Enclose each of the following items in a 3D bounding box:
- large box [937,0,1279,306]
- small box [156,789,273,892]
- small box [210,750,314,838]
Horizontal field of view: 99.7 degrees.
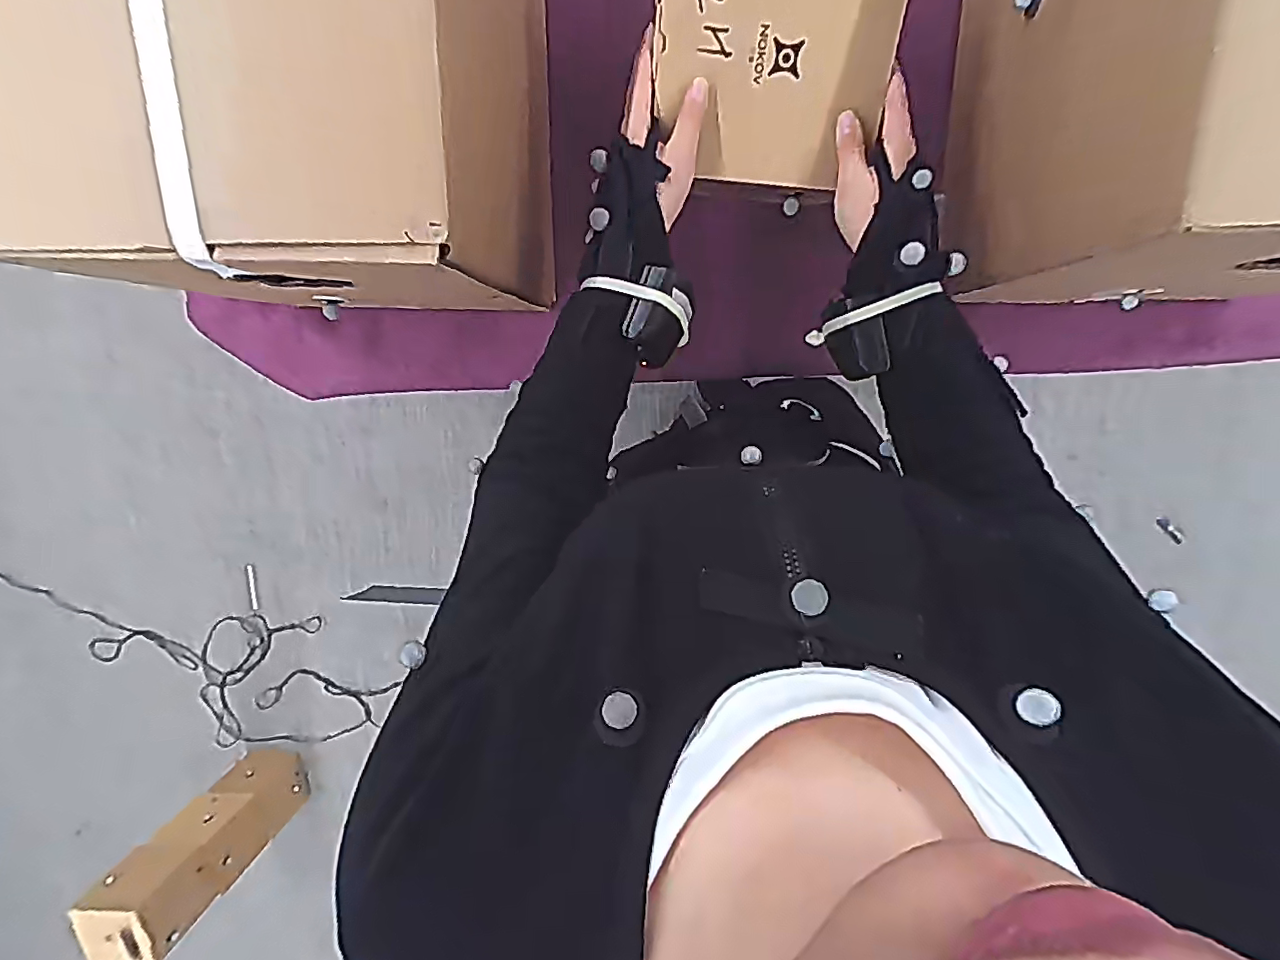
[{"bbox_3d":[0.443,-0.352,0.380,0.320,0.320,0.408,1,101,5],"label":"large box"},{"bbox_3d":[-1.147,0.973,1.471,0.168,0.176,0.179,-3,103,6],"label":"small box"},{"bbox_3d":[-1.131,0.942,1.629,0.179,0.176,0.168,-5,103,6],"label":"small box"}]
